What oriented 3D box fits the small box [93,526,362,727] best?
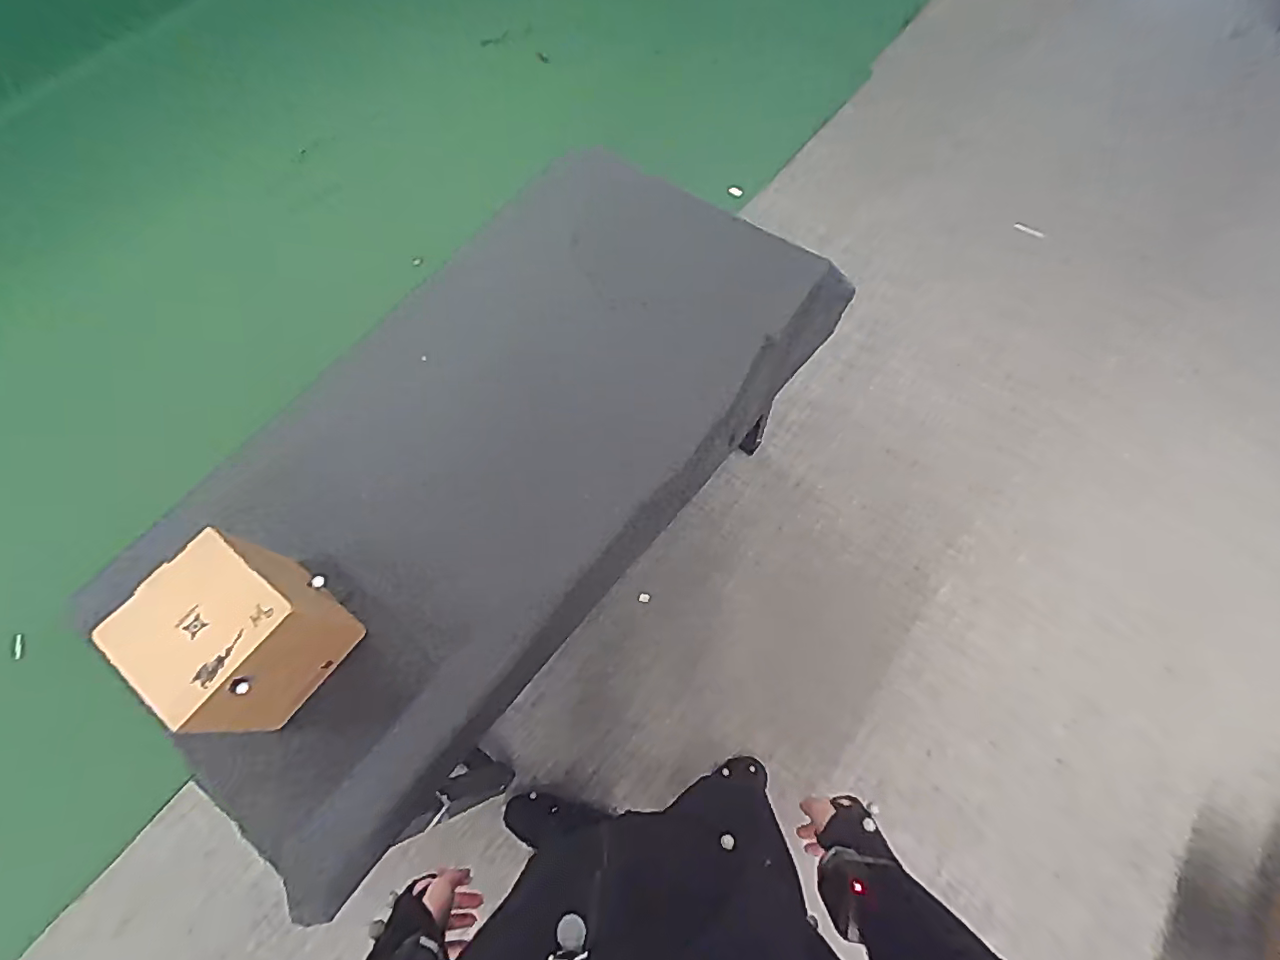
[{"bbox_3d":[-0.508,0.192,0.692,0.179,0.176,0.168,33,74,17],"label":"small box"}]
